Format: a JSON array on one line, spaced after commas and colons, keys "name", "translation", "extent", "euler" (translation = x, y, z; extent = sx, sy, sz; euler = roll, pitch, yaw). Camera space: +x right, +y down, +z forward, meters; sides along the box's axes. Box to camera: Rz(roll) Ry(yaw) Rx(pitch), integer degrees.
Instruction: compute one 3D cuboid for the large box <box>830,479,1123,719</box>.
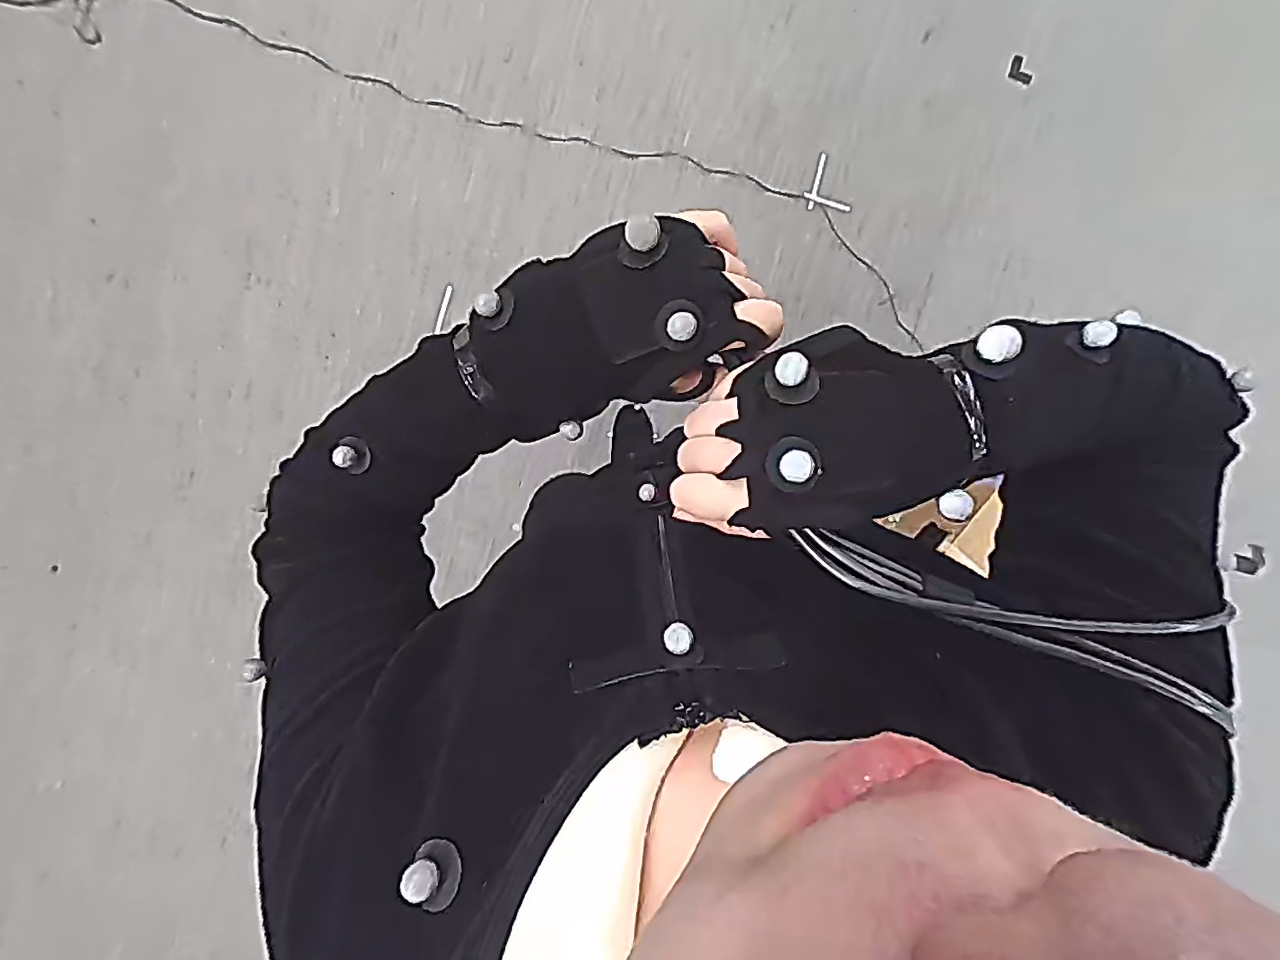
[{"name": "large box", "translation": [0.728, 0.241, 1.230], "extent": [0.408, 0.320, 0.320], "euler": [40, 90, -7]}]
